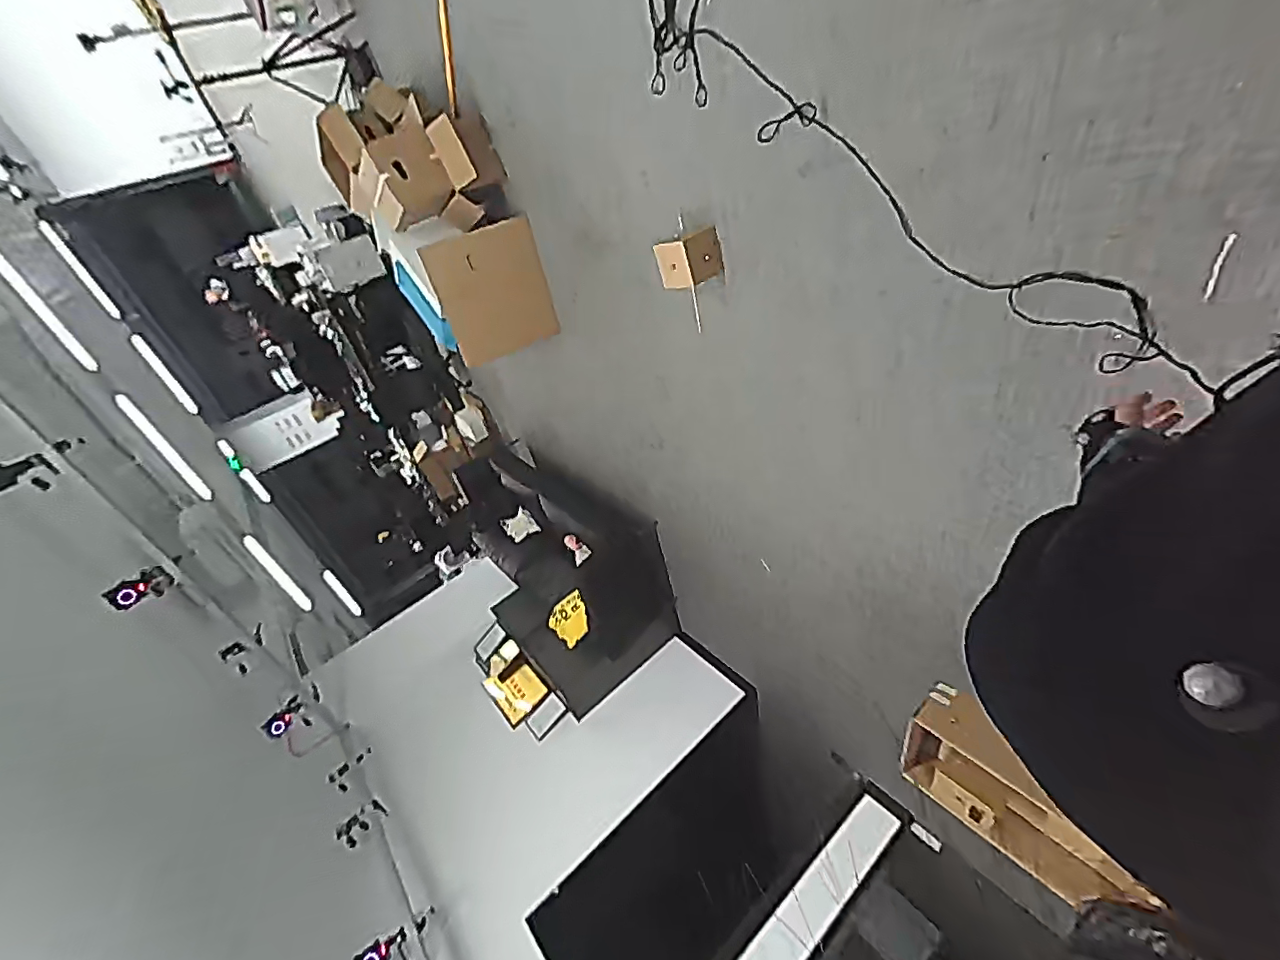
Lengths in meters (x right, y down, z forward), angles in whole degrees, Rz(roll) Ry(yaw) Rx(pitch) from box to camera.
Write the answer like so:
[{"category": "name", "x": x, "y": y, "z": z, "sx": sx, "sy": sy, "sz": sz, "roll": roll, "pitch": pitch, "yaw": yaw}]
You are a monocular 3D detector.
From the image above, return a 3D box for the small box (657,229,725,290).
[{"category": "small box", "x": 0.199, "y": -0.827, "z": 2.026, "sx": 0.179, "sy": 0.176, "sz": 0.168, "roll": 24, "pitch": 141, "yaw": 50}]
